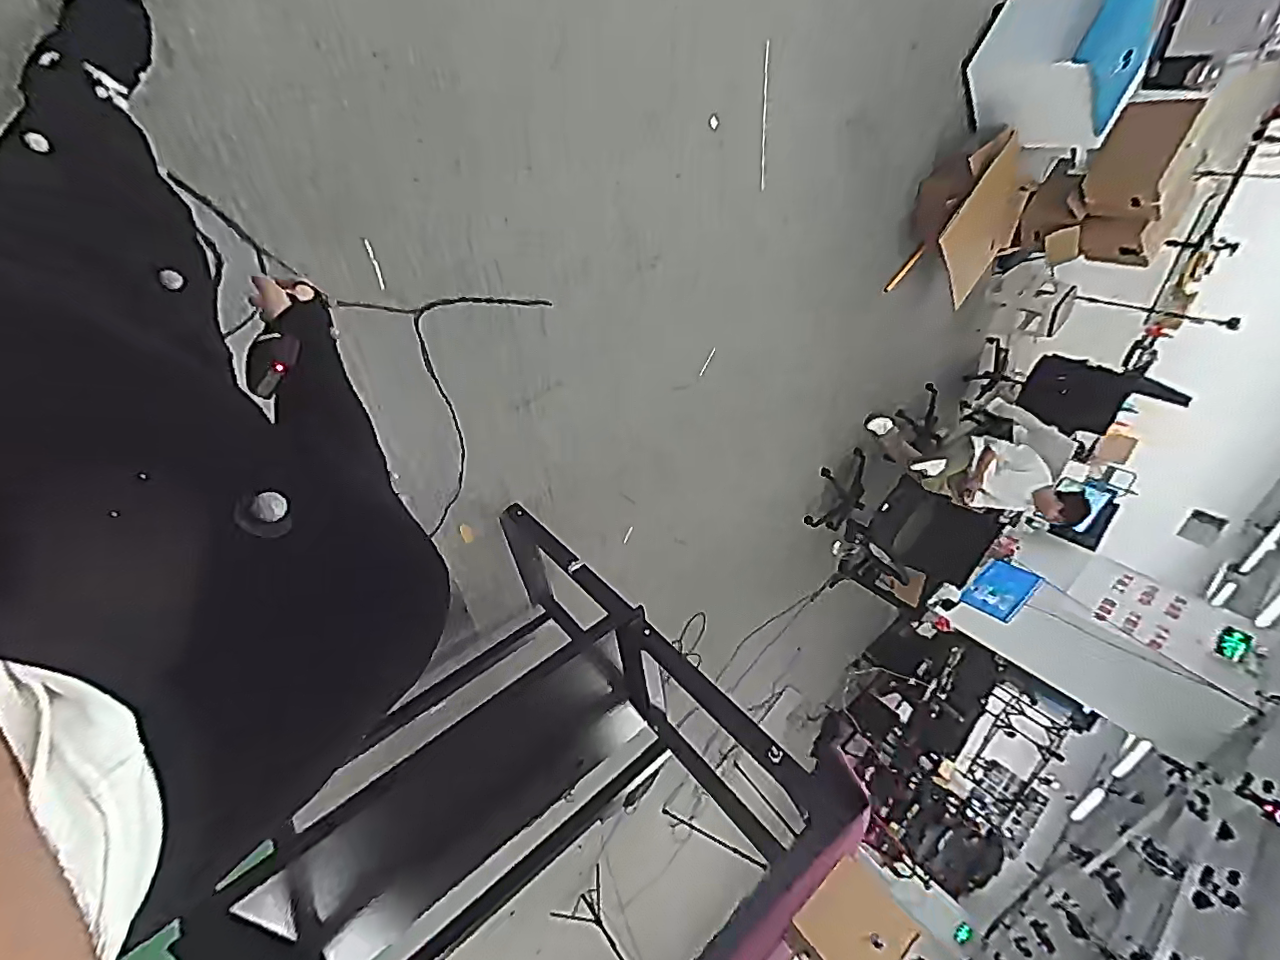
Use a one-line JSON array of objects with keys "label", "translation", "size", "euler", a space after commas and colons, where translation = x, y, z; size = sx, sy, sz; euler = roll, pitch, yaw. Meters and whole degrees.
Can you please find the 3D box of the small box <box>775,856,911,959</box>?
[{"label": "small box", "translation": [0.395, 0.900, 1.073], "size": [0.179, 0.176, 0.168], "euler": [-29, 134, -27]}]
